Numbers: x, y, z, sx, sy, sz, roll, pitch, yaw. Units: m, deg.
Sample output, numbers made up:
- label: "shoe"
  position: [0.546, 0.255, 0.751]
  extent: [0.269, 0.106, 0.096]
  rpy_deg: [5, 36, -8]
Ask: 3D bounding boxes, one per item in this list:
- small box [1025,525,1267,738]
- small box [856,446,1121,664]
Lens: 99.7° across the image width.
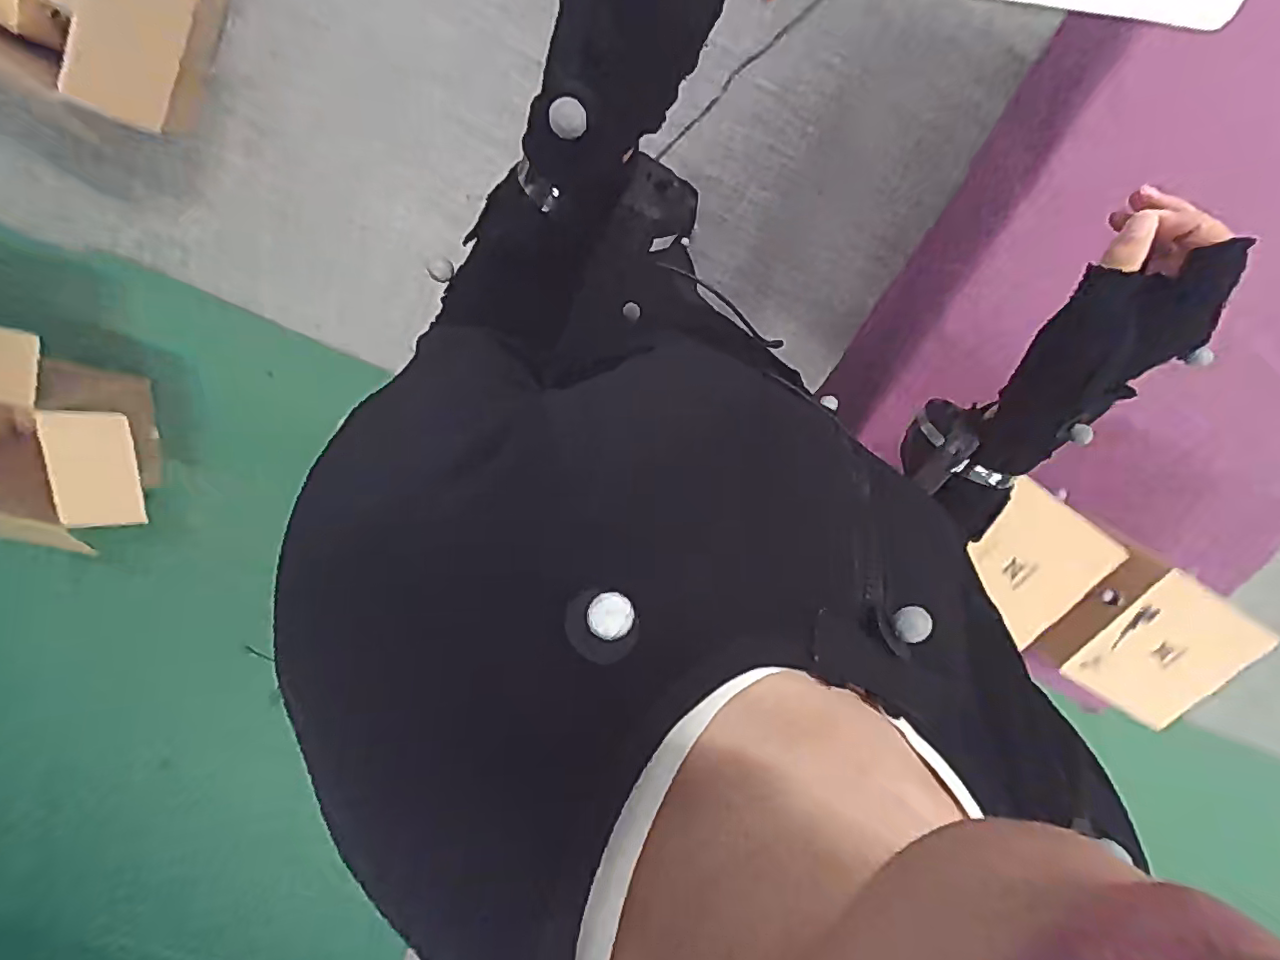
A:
- label: "small box"
  position: [0.602, 0.185, 0.700]
  extent: [0.179, 0.176, 0.168]
  rpy_deg: [31, 108, -10]
- label: "small box"
  position: [0.407, 0.081, 0.665]
  extent: [0.179, 0.176, 0.168]
  rpy_deg: [33, 107, -11]
